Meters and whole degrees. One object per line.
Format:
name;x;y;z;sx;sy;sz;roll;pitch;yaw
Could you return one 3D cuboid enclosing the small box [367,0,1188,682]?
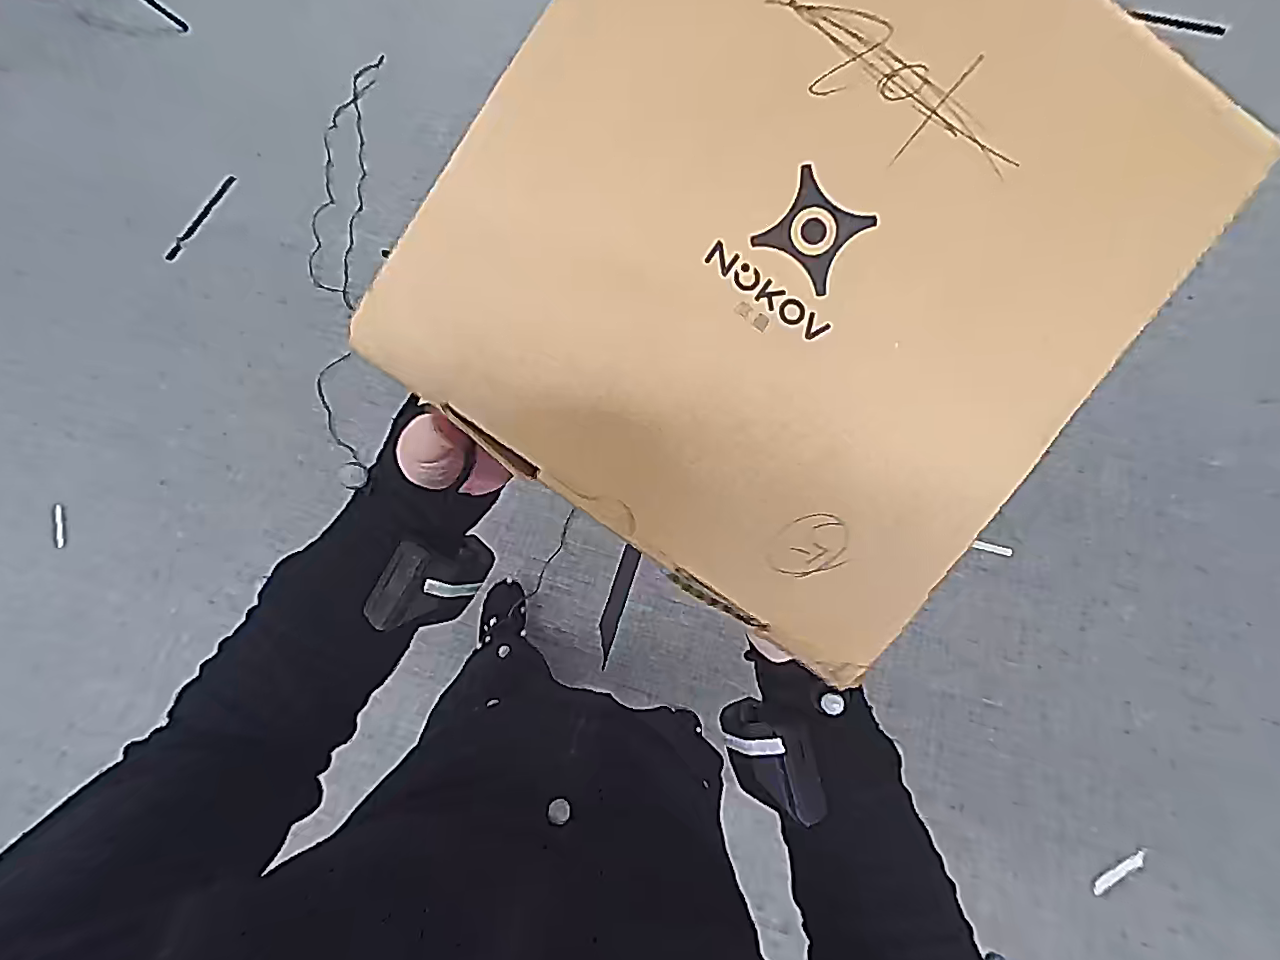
small box;0.035;-0.061;0.228;0.168;0.176;0.179;33;94;-5
